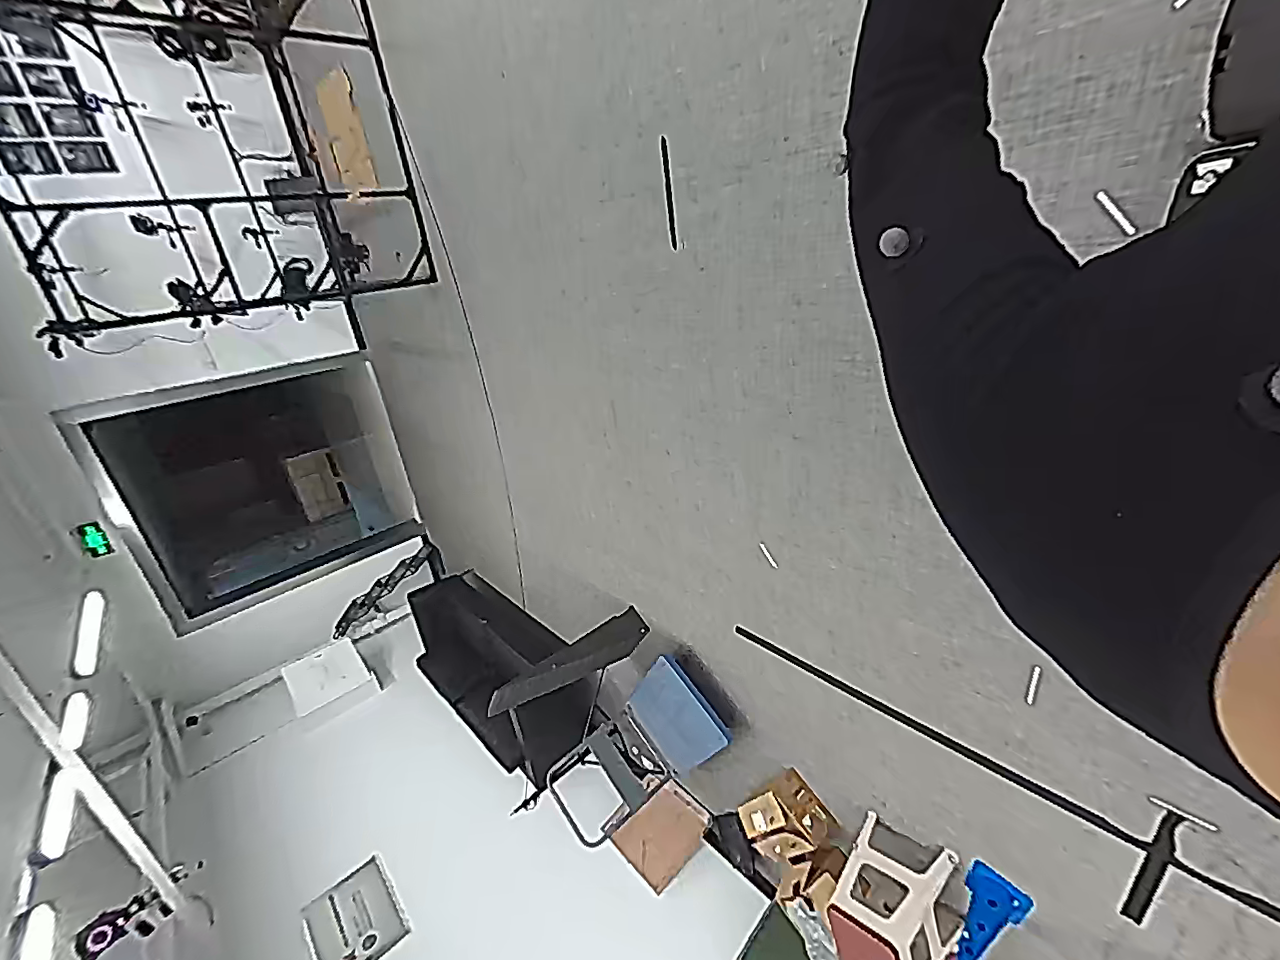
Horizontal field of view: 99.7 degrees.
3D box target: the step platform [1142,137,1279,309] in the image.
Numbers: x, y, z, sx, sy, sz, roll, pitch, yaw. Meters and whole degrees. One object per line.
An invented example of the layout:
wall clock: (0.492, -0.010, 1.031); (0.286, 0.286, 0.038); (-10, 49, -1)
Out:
step platform: (1.268, -0.437, 0.860); (0.684, 0.204, 0.286); (17, 123, 48)
